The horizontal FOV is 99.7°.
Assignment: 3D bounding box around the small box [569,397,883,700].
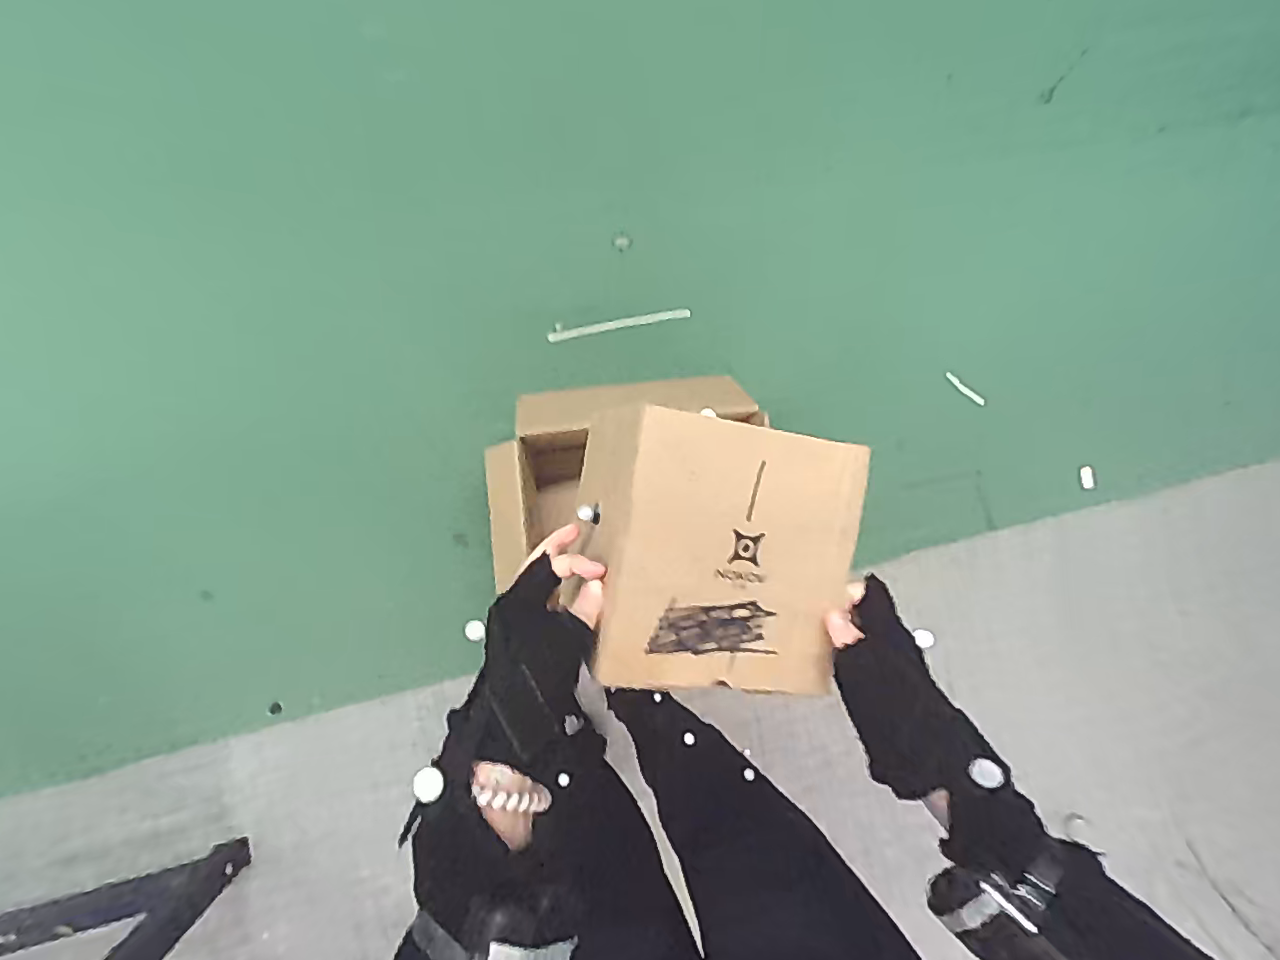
[{"bbox_3d":[0.046,0.043,0.412,0.168,0.176,0.179,9,92,-18],"label":"small box"}]
